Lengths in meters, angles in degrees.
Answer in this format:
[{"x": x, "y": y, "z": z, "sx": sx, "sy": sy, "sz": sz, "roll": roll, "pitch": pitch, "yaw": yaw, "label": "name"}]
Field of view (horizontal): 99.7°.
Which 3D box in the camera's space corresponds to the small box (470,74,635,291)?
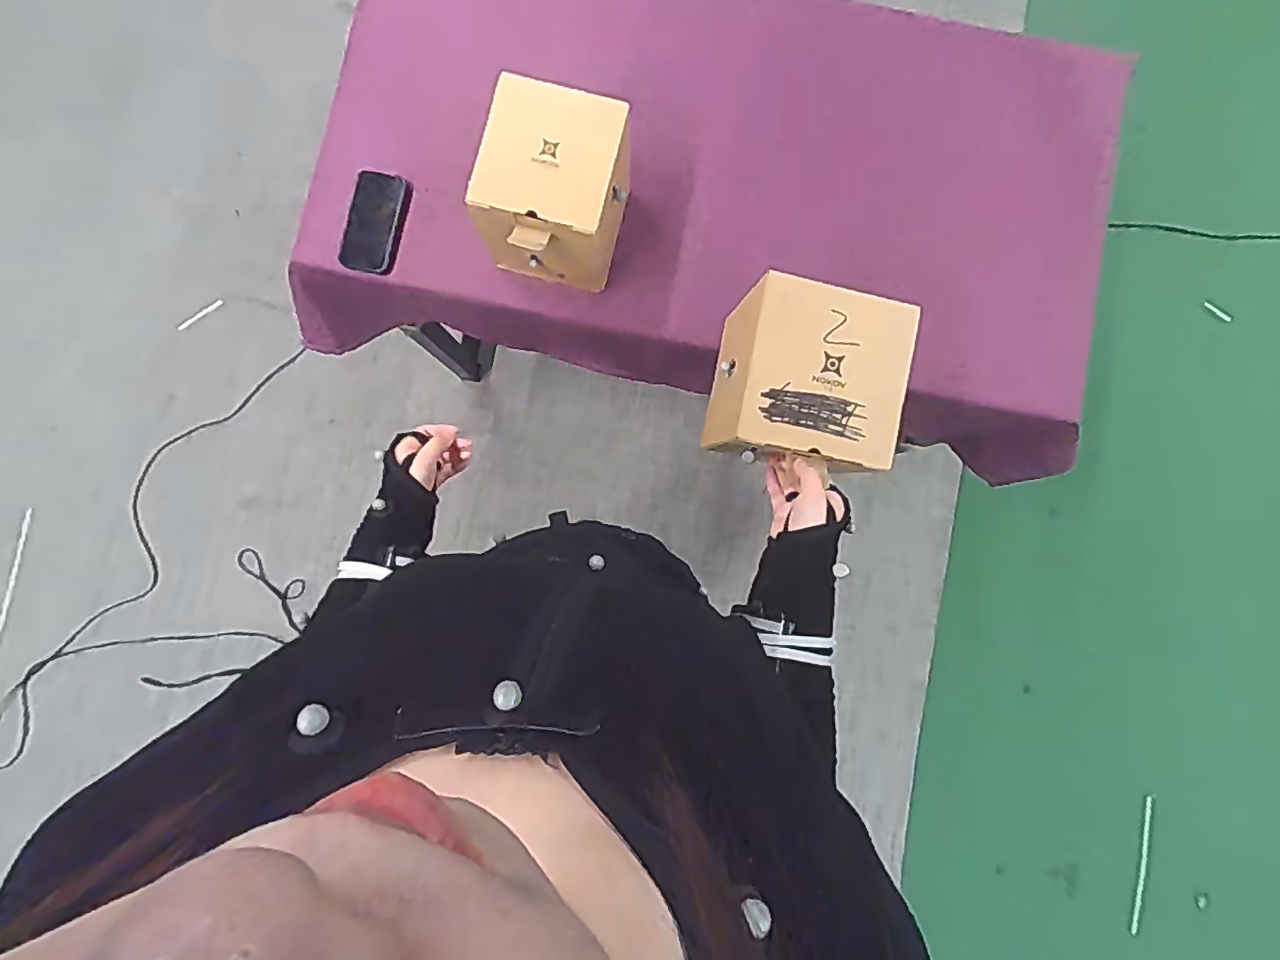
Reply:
[{"x": -0.111, "y": -0.390, "z": 0.738, "sx": 0.168, "sy": 0.176, "sz": 0.179, "roll": 14, "pitch": 85, "yaw": -1, "label": "small box"}]
